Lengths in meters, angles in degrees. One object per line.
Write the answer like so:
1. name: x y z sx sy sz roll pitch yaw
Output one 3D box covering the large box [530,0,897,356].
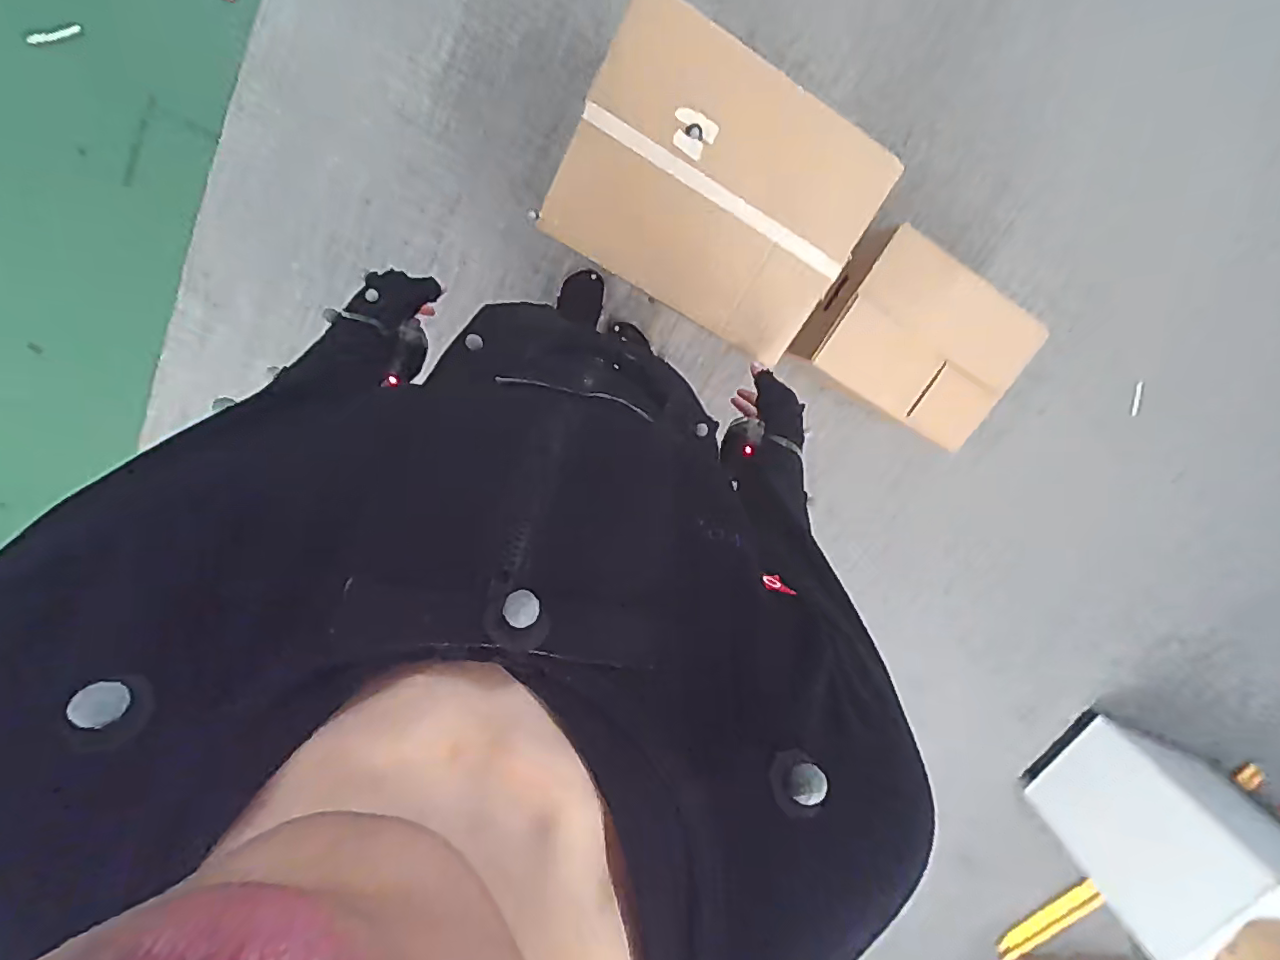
1. large box: 0.097 -0.451 0.860 0.408 0.320 0.320 28 110 -11
